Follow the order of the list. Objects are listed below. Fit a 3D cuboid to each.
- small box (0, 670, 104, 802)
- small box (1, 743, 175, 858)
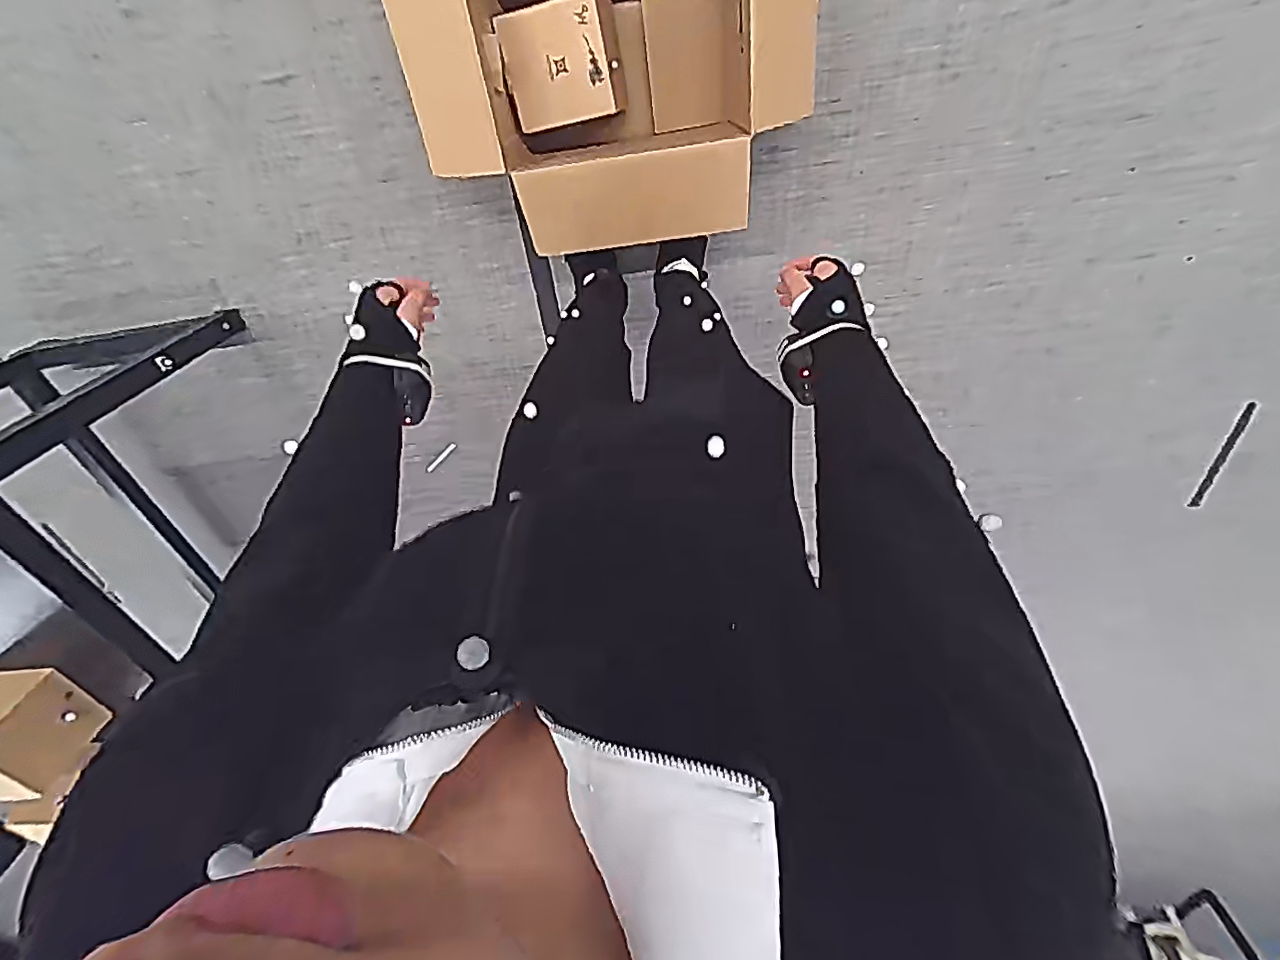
[{"bbox_3d":[-1.194,0.478,1.015,0.179,0.176,0.168,-5,126,5],"label":"small box"},{"bbox_3d":[-1.170,0.690,1.171,0.179,0.176,0.168,-5,126,6],"label":"small box"}]
